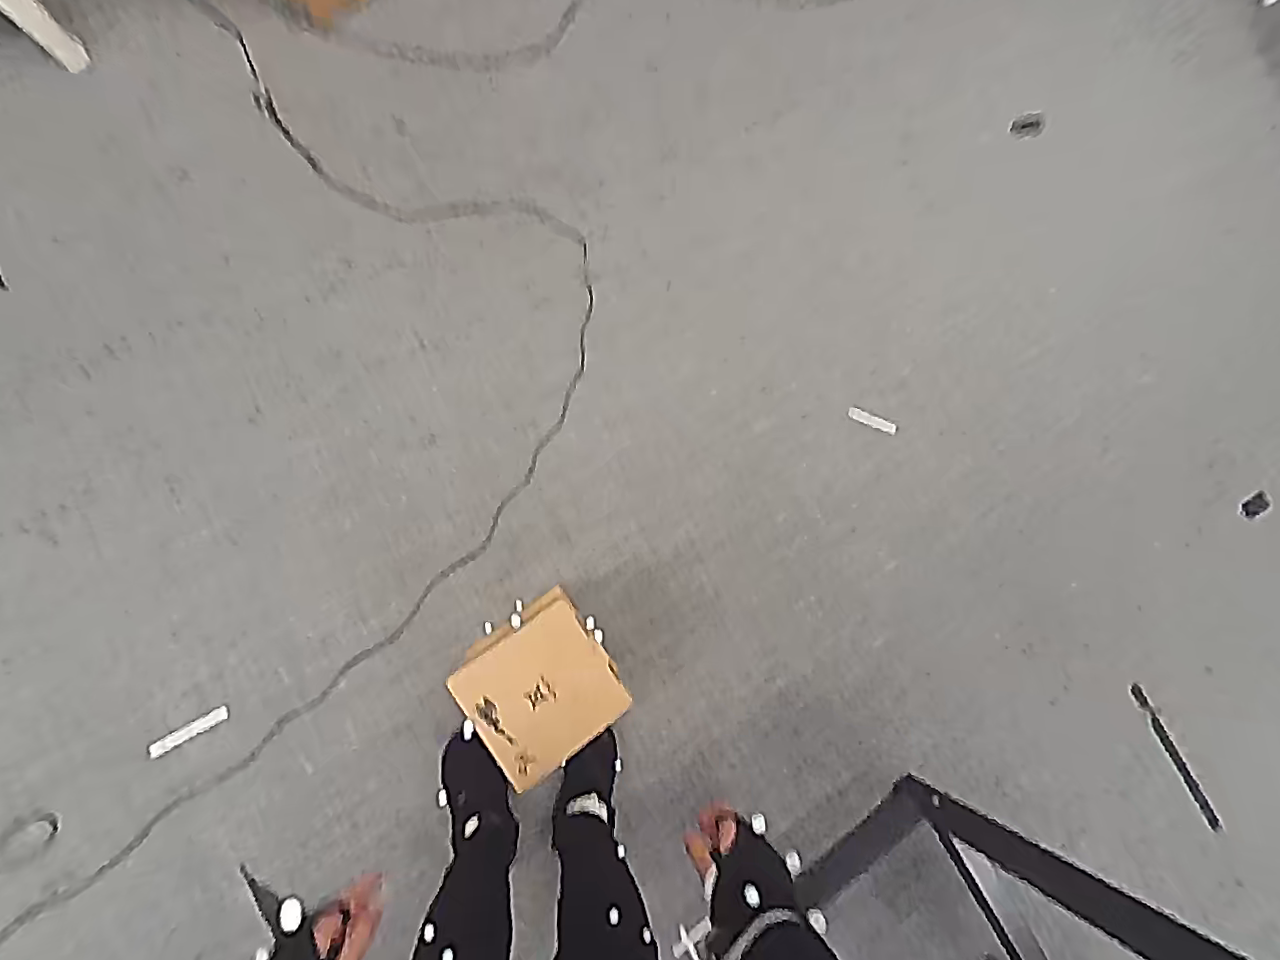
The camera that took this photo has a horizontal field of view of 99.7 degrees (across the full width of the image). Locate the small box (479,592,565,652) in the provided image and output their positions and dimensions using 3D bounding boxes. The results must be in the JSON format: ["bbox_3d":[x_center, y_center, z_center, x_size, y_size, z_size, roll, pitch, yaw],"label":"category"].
[{"bbox_3d":[-0.197,0.335,1.077,0.179,0.176,0.168,-33,87,-14],"label":"small box"}]

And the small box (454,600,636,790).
[{"bbox_3d":[-0.134,0.282,0.761,0.179,0.176,0.168,-34,86,-16],"label":"small box"}]
